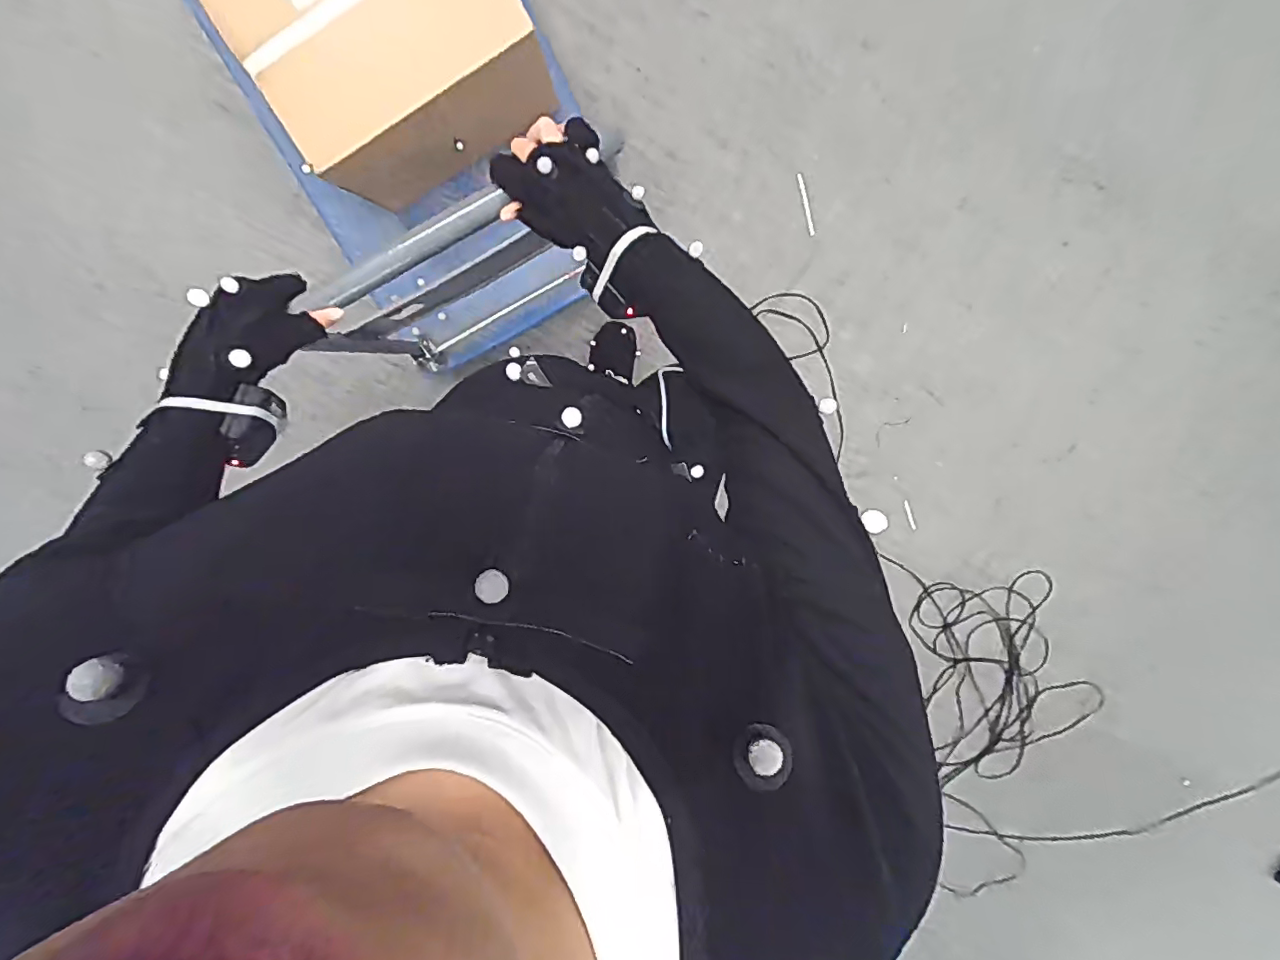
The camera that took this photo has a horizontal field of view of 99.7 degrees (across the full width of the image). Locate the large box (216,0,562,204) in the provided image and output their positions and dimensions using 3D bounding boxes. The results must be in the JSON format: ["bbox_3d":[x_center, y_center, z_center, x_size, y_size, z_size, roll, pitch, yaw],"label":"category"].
[{"bbox_3d":[-0.396,-0.752,0.934,0.408,0.320,0.320,-28,105,8],"label":"large box"}]
